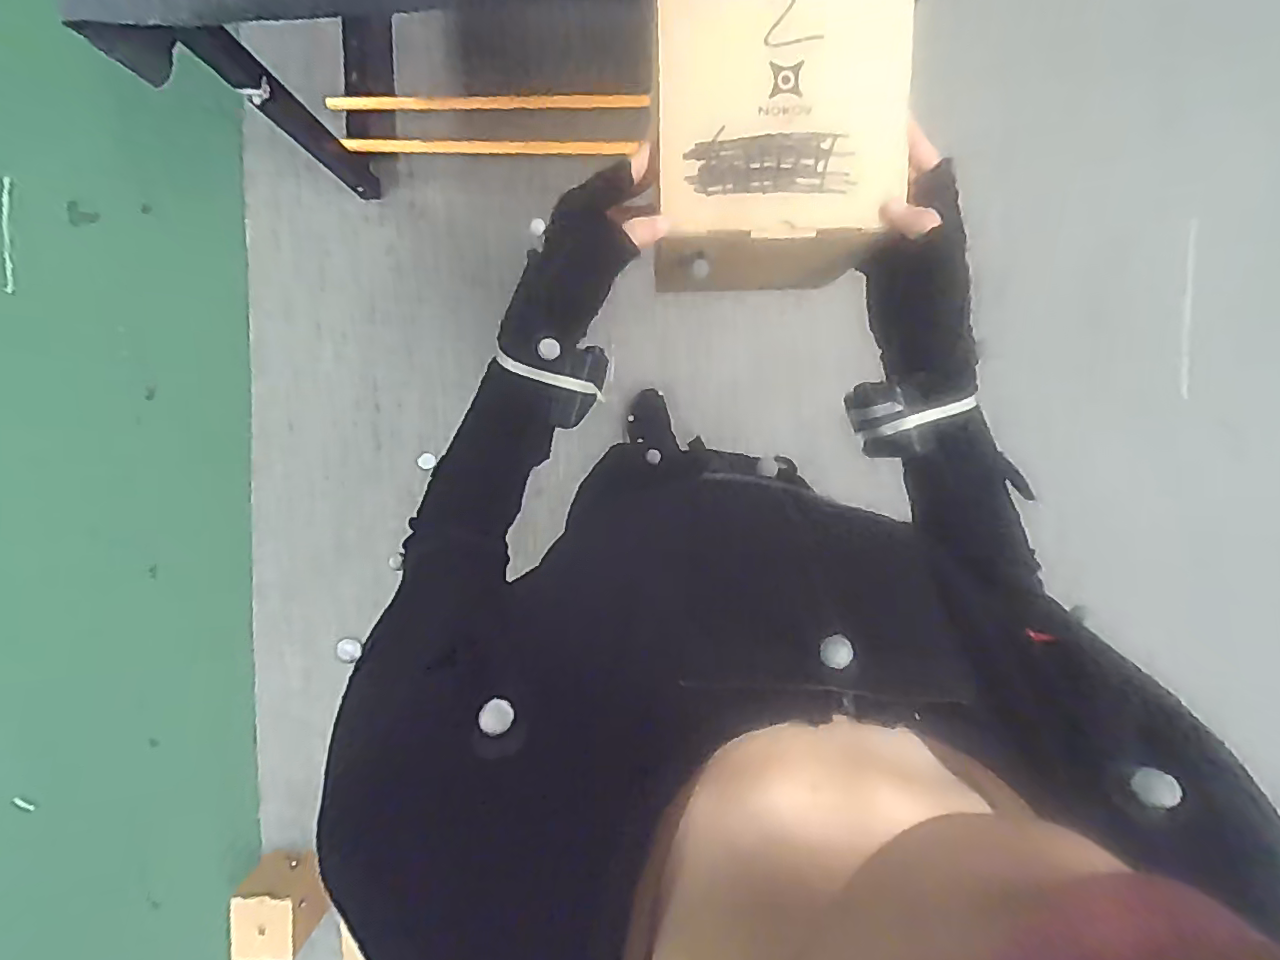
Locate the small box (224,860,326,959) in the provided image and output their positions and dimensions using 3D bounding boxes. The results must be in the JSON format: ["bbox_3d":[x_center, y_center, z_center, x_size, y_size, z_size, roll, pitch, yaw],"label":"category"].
[{"bbox_3d":[-0.973,1.171,1.454,0.168,0.176,0.179,1,92,1],"label":"small box"}]
